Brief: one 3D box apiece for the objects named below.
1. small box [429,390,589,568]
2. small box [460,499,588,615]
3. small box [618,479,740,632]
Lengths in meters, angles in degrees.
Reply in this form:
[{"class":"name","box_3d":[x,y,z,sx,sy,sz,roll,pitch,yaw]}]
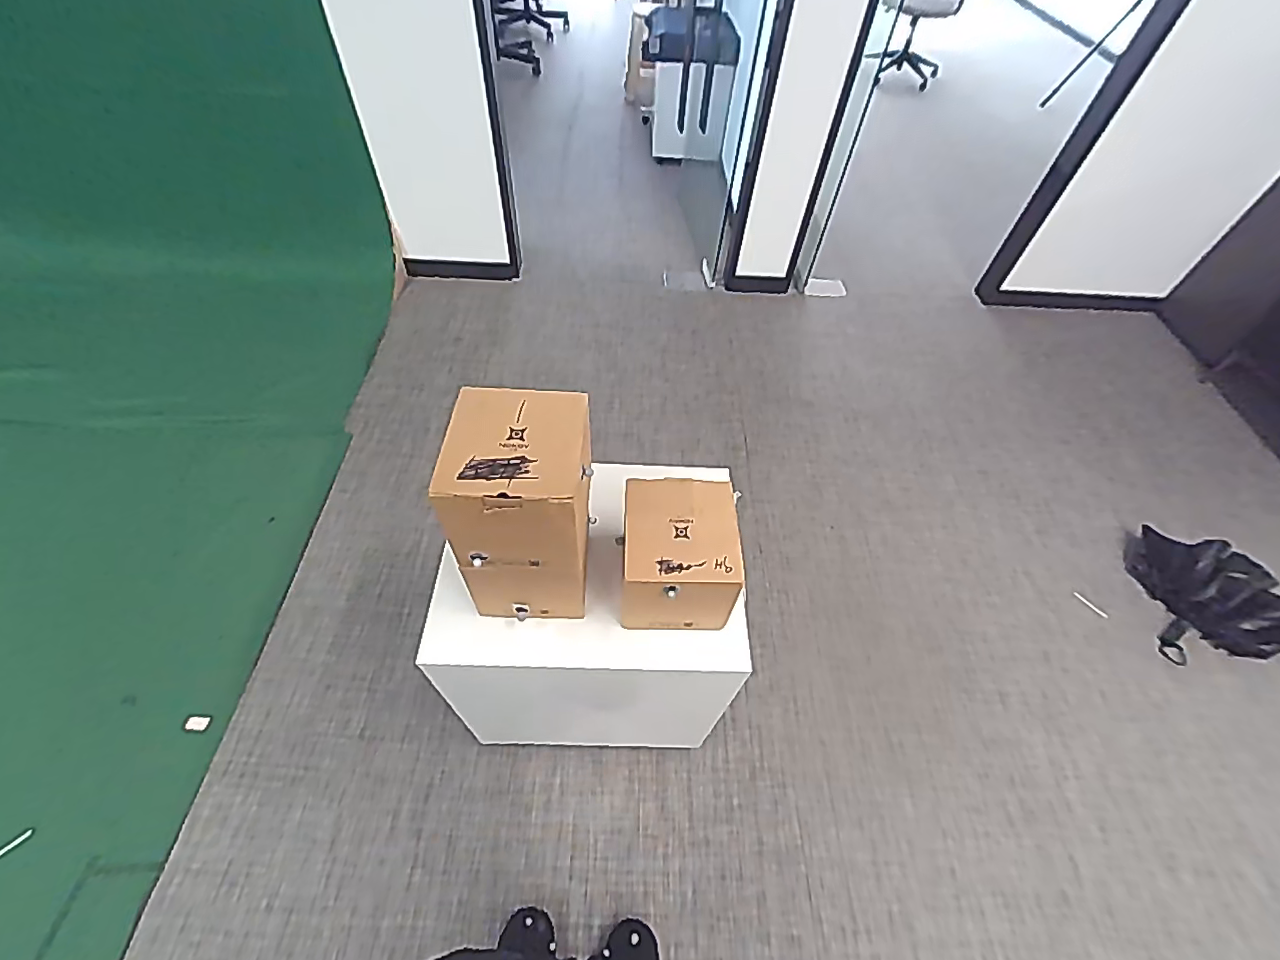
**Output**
[{"class":"small box","box_3d":[-0.158,0.002,0.722,0.168,0.176,0.179,3,51,-1]},{"class":"small box","box_3d":[-0.167,0.093,0.838,0.168,0.176,0.179,0,54,-3]},{"class":"small box","box_3d":[0.052,0.119,0.851,0.168,0.176,0.179,2,52,-3]}]
